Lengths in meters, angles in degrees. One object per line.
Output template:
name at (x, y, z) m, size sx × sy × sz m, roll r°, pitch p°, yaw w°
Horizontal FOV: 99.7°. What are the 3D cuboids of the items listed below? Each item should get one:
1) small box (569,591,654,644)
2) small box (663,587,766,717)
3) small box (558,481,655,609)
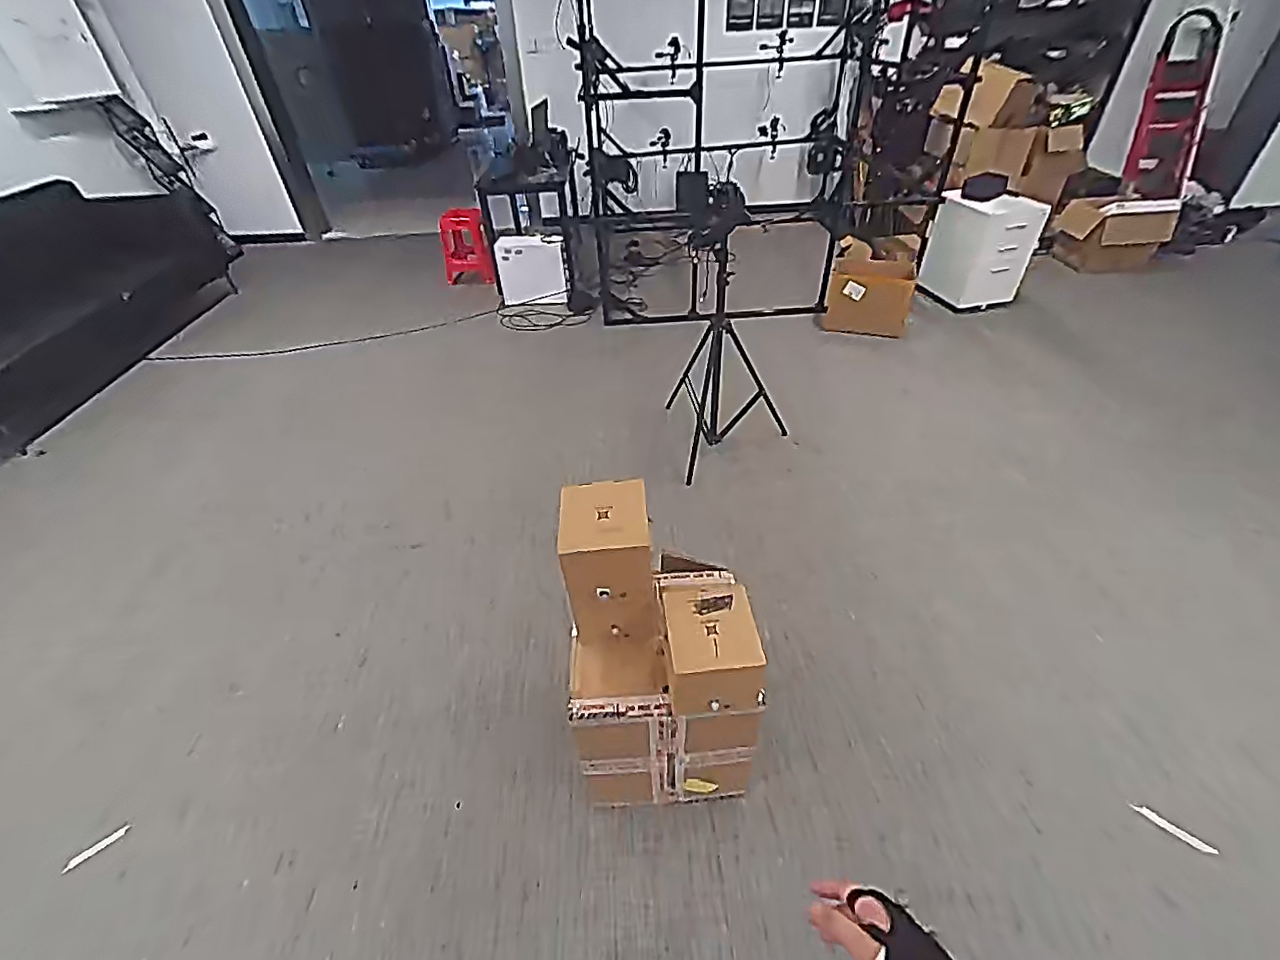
small box at (-0.059, 0.233, 1.178) m, size 0.168 × 0.176 × 0.179 m, roll -5°, pitch 43°, yaw 0°
small box at (0.135, 0.334, 1.052) m, size 0.168 × 0.176 × 0.179 m, roll -5°, pitch 43°, yaw -2°
small box at (-0.061, 0.126, 1.053) m, size 0.168 × 0.176 × 0.179 m, roll -6°, pitch 43°, yaw 0°
